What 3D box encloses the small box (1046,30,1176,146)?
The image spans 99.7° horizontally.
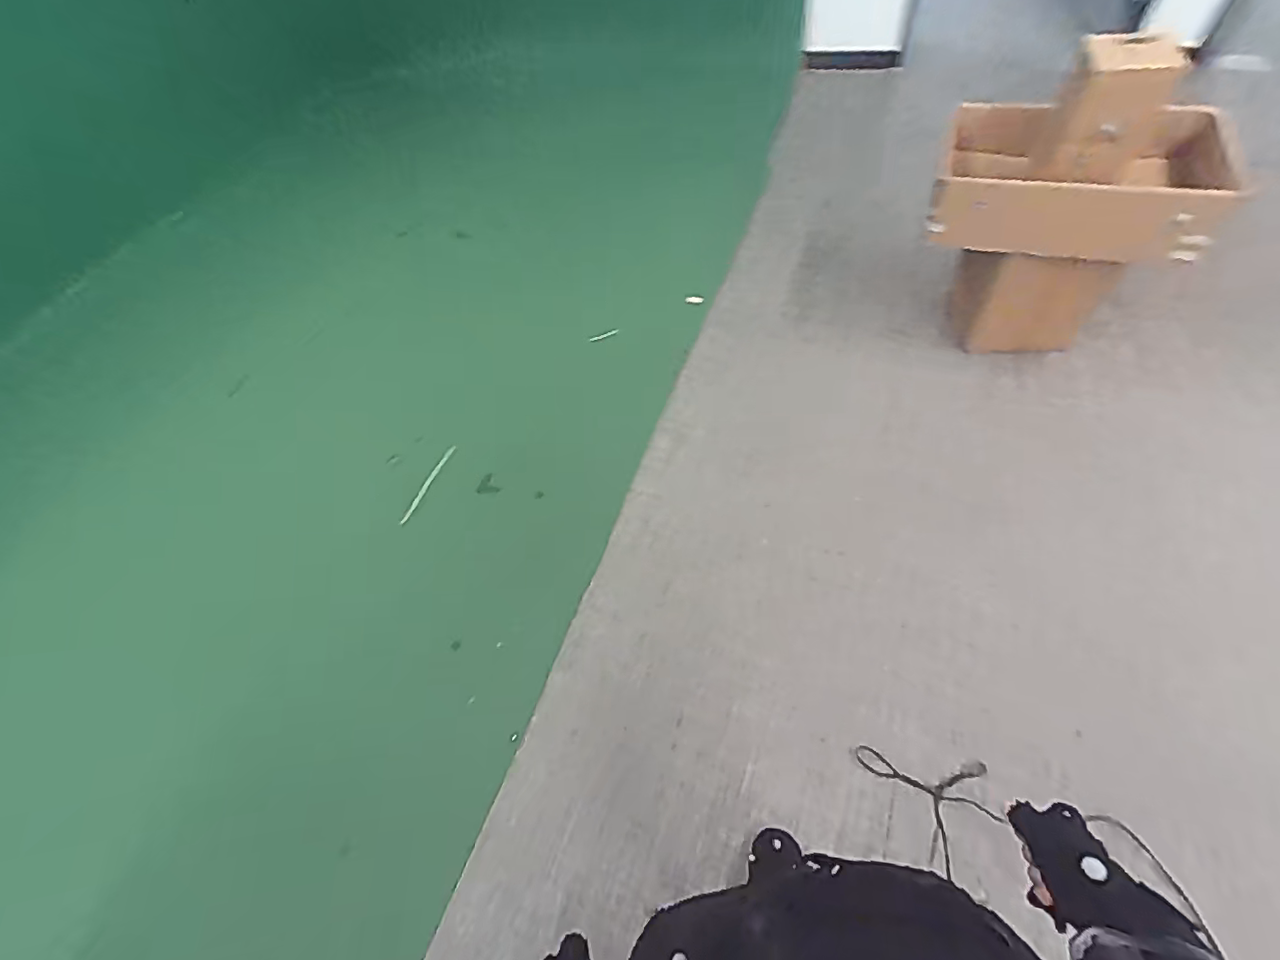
[{"bbox_3d":[1.088,-0.917,1.270,0.168,0.176,0.179,8,60,15],"label":"small box"}]

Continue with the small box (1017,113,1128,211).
[{"bbox_3d":[1.110,-0.827,1.407,0.168,0.176,0.179,7,59,15],"label":"small box"}]
